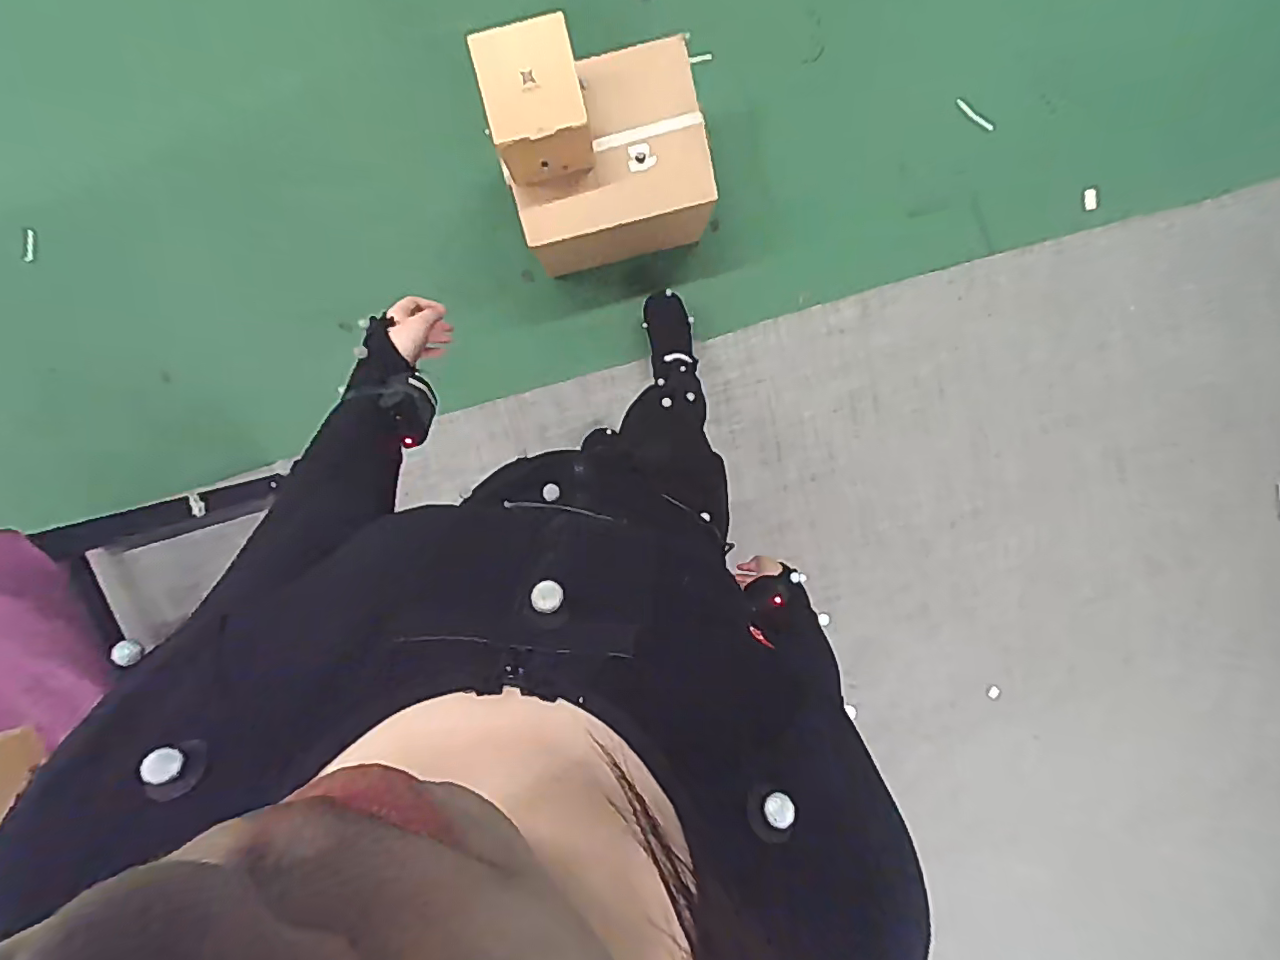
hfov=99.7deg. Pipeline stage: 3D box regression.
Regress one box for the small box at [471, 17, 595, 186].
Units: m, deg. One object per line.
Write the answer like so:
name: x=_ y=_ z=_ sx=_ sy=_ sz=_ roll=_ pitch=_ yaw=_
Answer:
small box: x=-0.182 y=-0.666 z=0.972 sx=0.168 sy=0.176 sz=0.179 roll=-14 pitch=99 yaw=1

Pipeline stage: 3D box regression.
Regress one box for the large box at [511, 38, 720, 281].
large box: x=-0.070 y=-0.681 z=1.217 sx=0.408 sy=0.320 sz=0.320 roll=-14 pitch=100 yaw=1

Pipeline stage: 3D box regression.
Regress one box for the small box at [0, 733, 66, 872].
small box: x=-0.956 y=0.474 z=0.721 sx=0.179 sy=0.176 sz=0.168 roll=-15 pitch=99 yaw=2
